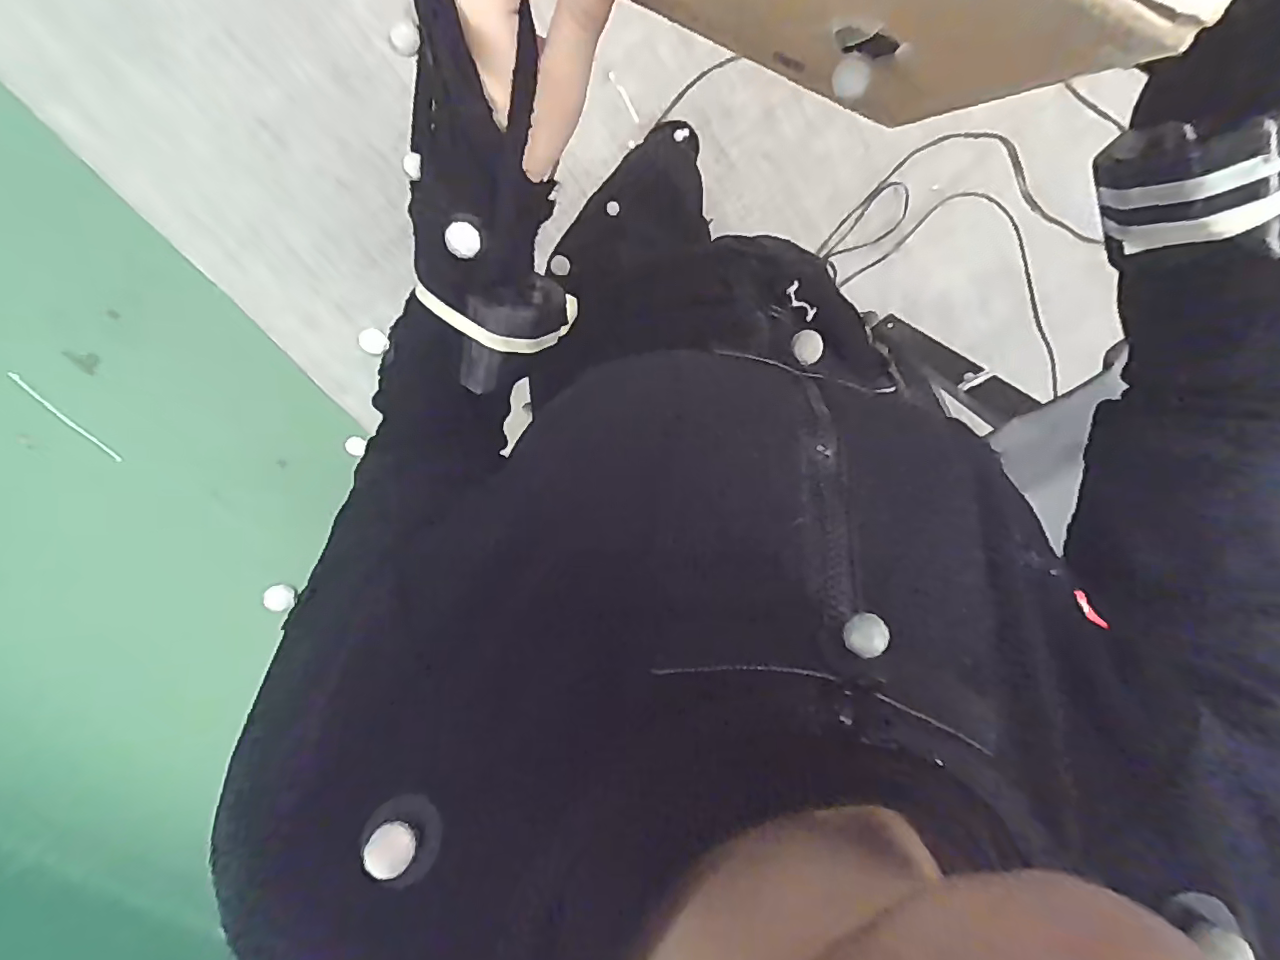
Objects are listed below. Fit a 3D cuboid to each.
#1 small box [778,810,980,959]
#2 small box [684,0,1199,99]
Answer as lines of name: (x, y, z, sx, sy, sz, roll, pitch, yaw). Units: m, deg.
small box: (0.279, 0.528, 0.634, 0.179, 0.176, 0.168, -33, 114, 20)
small box: (0.067, -0.223, 0.125, 0.168, 0.176, 0.179, 19, 117, -9)
